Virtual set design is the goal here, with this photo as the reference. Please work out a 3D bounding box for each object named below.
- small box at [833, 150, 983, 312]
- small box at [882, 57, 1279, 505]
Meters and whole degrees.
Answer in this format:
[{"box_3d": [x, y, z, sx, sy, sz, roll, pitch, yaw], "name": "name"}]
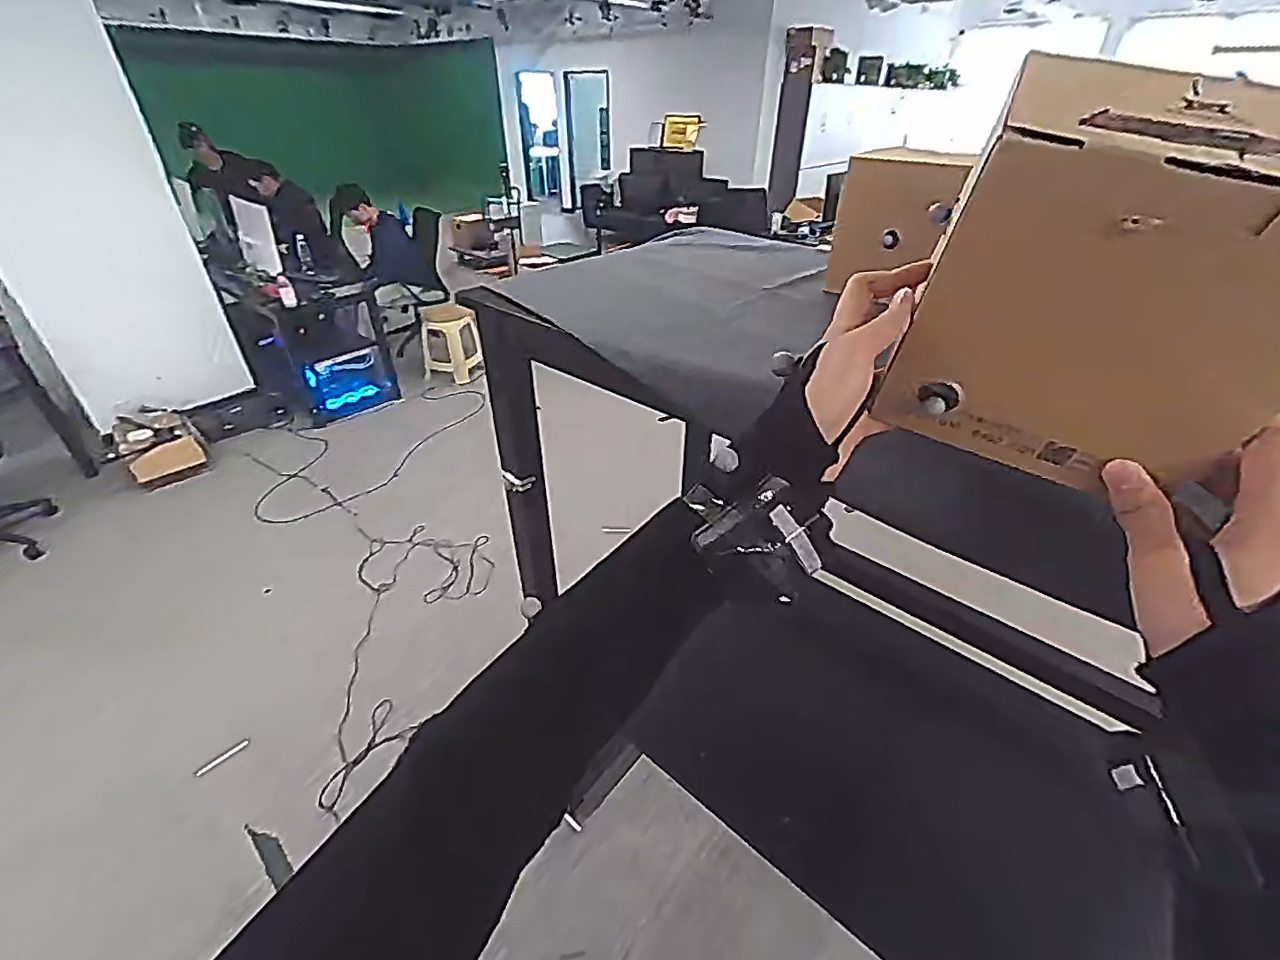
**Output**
[{"box_3d": [0.376, -0.333, 0.722, 0.168, 0.176, 0.179, 27, 43, 31], "name": "small box"}, {"box_3d": [0.263, -0.116, 0.316, 0.168, 0.176, 0.179, 24, 53, 17], "name": "small box"}]
